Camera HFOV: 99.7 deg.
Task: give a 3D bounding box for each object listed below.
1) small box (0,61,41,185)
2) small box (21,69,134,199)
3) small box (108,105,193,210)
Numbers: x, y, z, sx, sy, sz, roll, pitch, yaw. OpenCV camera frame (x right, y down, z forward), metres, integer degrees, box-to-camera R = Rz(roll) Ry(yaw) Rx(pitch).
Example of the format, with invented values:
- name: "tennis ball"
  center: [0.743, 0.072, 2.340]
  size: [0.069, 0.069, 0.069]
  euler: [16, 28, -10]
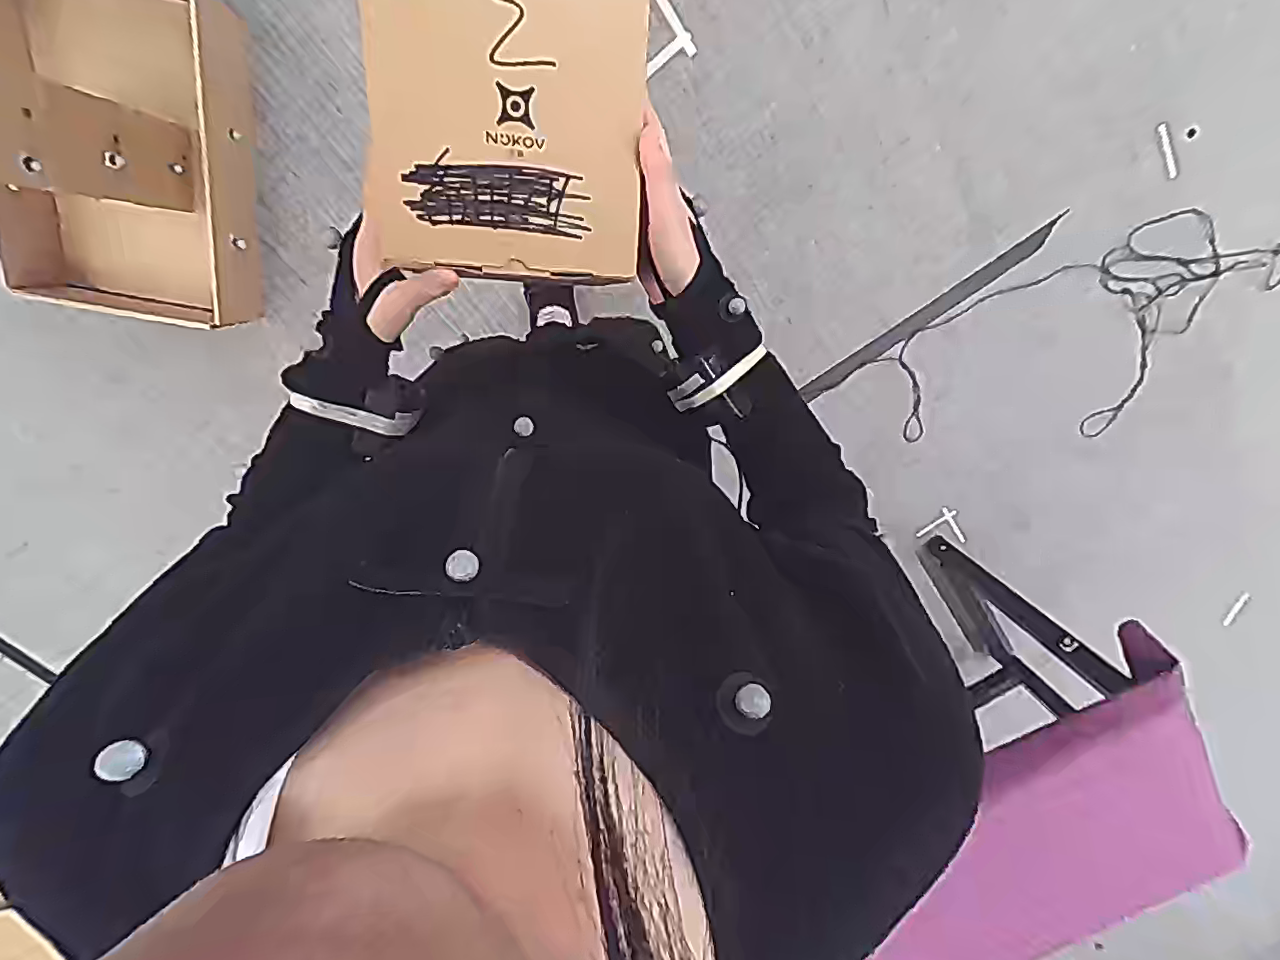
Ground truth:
- name: "small box"
  center: [-1.011, -0.528, 0.758]
  size: [0.179, 0.176, 0.168]
  euler: [10, 110, -7]
- name: "small box"
  center: [-1.019, -0.588, 0.911]
  size: [0.179, 0.176, 0.168]
  euler: [10, 111, -10]
- name: "small box"
  center: [-1.031, -0.644, 1.062]
  size: [0.179, 0.176, 0.168]
  euler: [11, 110, -9]
